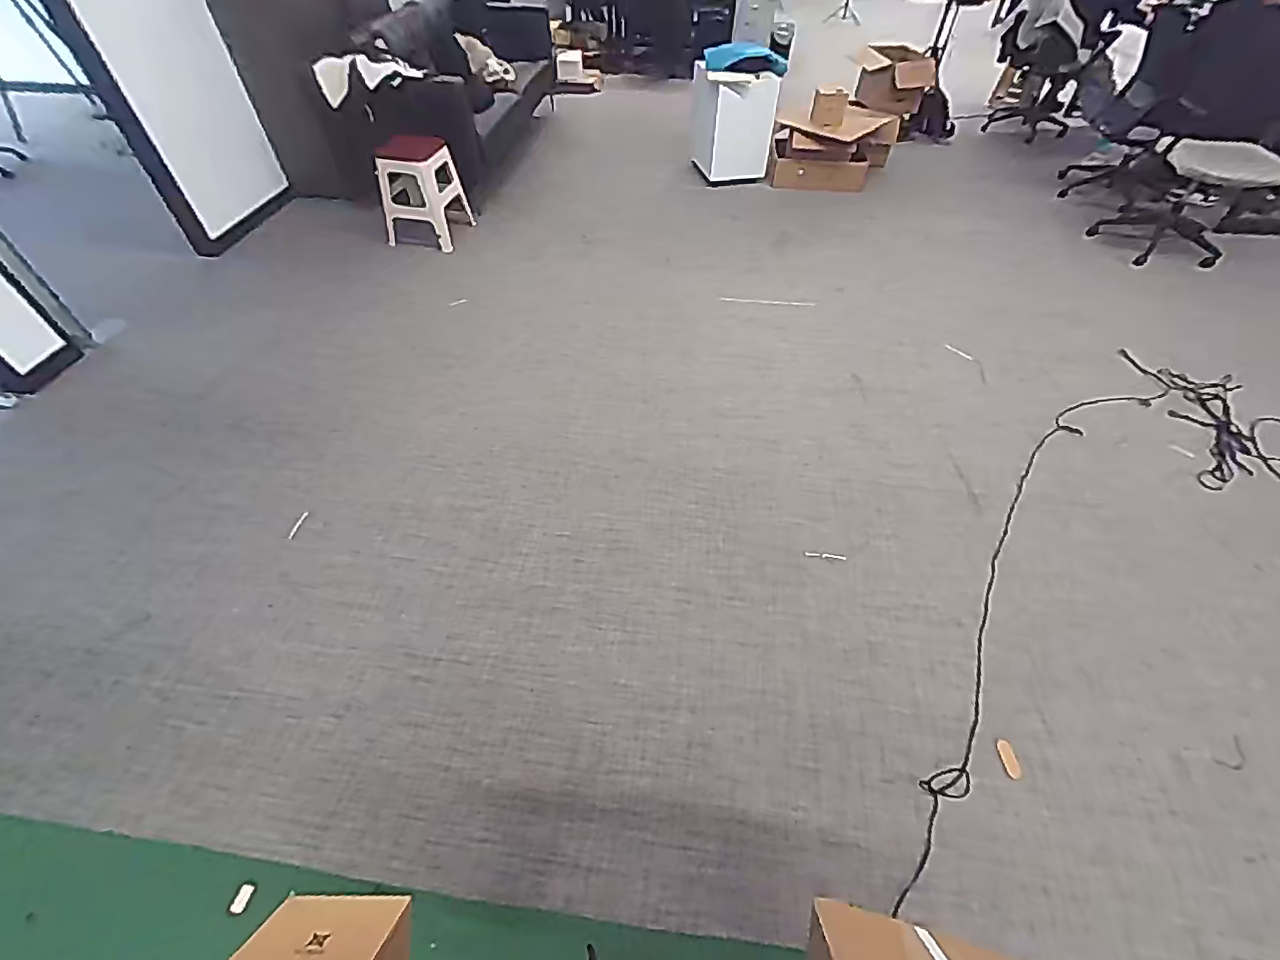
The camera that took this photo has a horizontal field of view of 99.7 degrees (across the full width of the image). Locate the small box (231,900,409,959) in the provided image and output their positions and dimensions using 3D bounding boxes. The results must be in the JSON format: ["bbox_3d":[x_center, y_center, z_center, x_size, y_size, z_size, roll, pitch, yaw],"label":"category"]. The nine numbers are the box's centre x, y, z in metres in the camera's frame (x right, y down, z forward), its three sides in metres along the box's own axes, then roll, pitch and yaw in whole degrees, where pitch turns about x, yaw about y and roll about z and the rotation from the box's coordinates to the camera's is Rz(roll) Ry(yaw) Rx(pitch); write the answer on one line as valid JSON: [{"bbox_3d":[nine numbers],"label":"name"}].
[{"bbox_3d":[-0.396,0.643,0.640,0.168,0.179,0.176,1,83,-2],"label":"small box"}]
